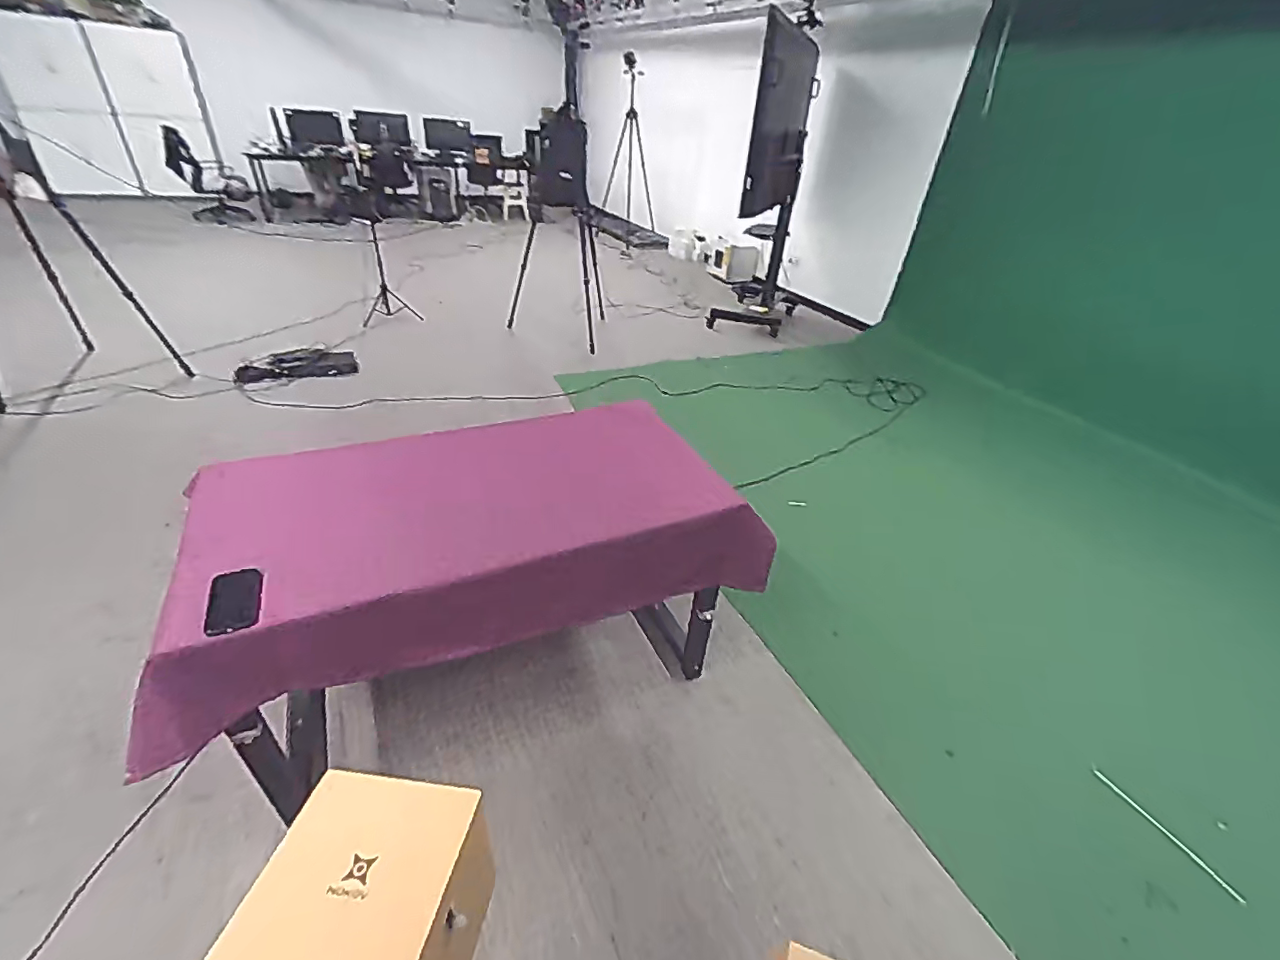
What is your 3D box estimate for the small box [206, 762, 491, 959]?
[{"bbox_3d":[-0.250,0.412,0.517,0.168,0.176,0.179,6,30,4],"label":"small box"}]
